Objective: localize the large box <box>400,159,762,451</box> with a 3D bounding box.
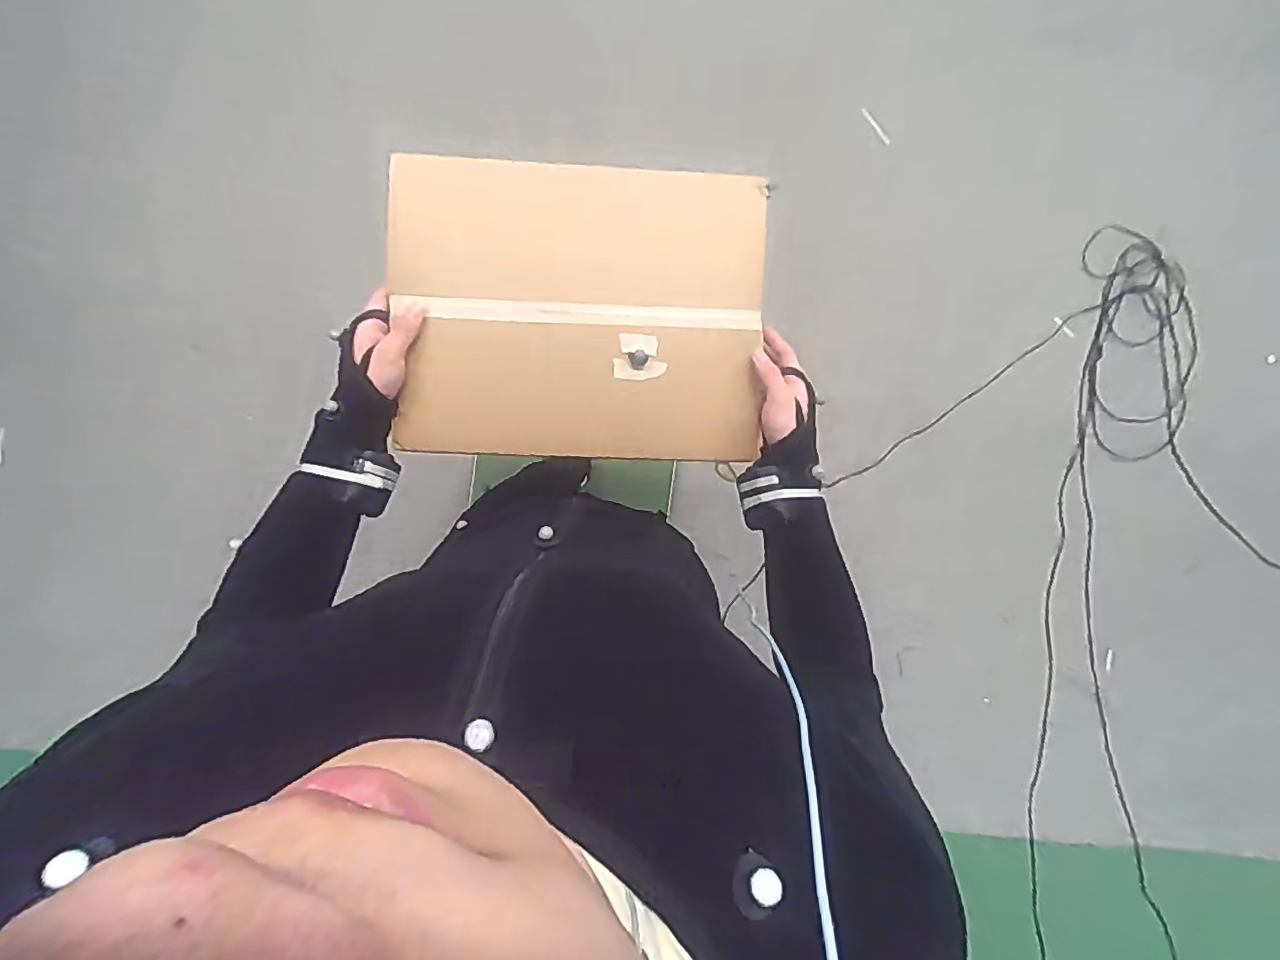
[{"bbox_3d":[-0.075,-0.202,0.752,0.408,0.320,0.320,2,95,-4],"label":"large box"}]
